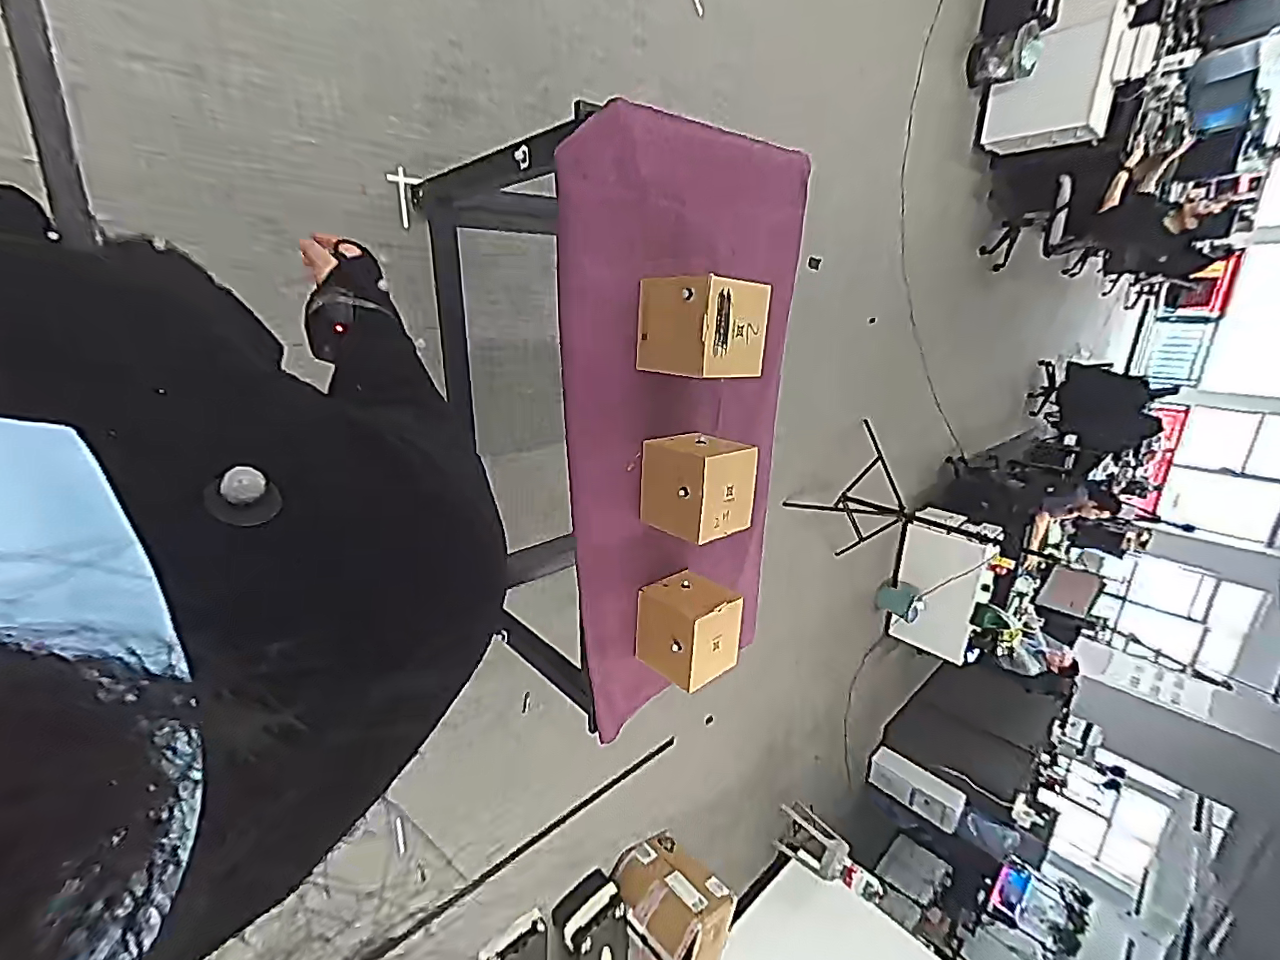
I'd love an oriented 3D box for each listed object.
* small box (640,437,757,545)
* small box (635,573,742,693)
[{"bbox_3d":[0.116,0.011,1.108,0.168,0.176,0.179,-11,112,-41],"label":"small box"},{"bbox_3d":[0.103,0.331,1.208,0.168,0.176,0.179,-12,111,-43],"label":"small box"}]
